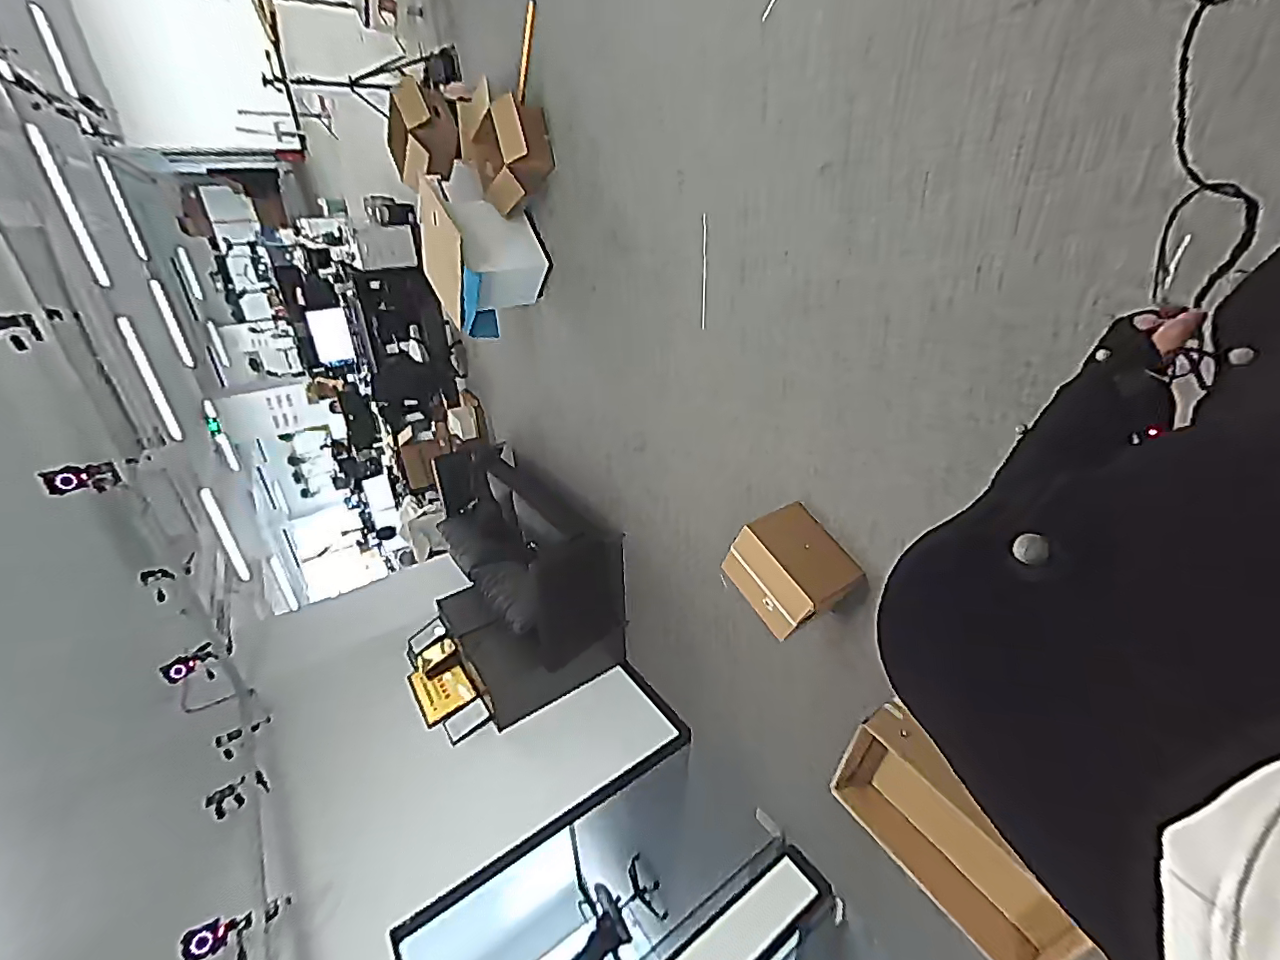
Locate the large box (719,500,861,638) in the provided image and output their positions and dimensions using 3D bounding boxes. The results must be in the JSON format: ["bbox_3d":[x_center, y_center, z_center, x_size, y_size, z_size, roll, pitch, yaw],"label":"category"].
[{"bbox_3d":[0.605,0.355,2.226,0.408,0.320,0.320,51,146,27],"label":"large box"}]
